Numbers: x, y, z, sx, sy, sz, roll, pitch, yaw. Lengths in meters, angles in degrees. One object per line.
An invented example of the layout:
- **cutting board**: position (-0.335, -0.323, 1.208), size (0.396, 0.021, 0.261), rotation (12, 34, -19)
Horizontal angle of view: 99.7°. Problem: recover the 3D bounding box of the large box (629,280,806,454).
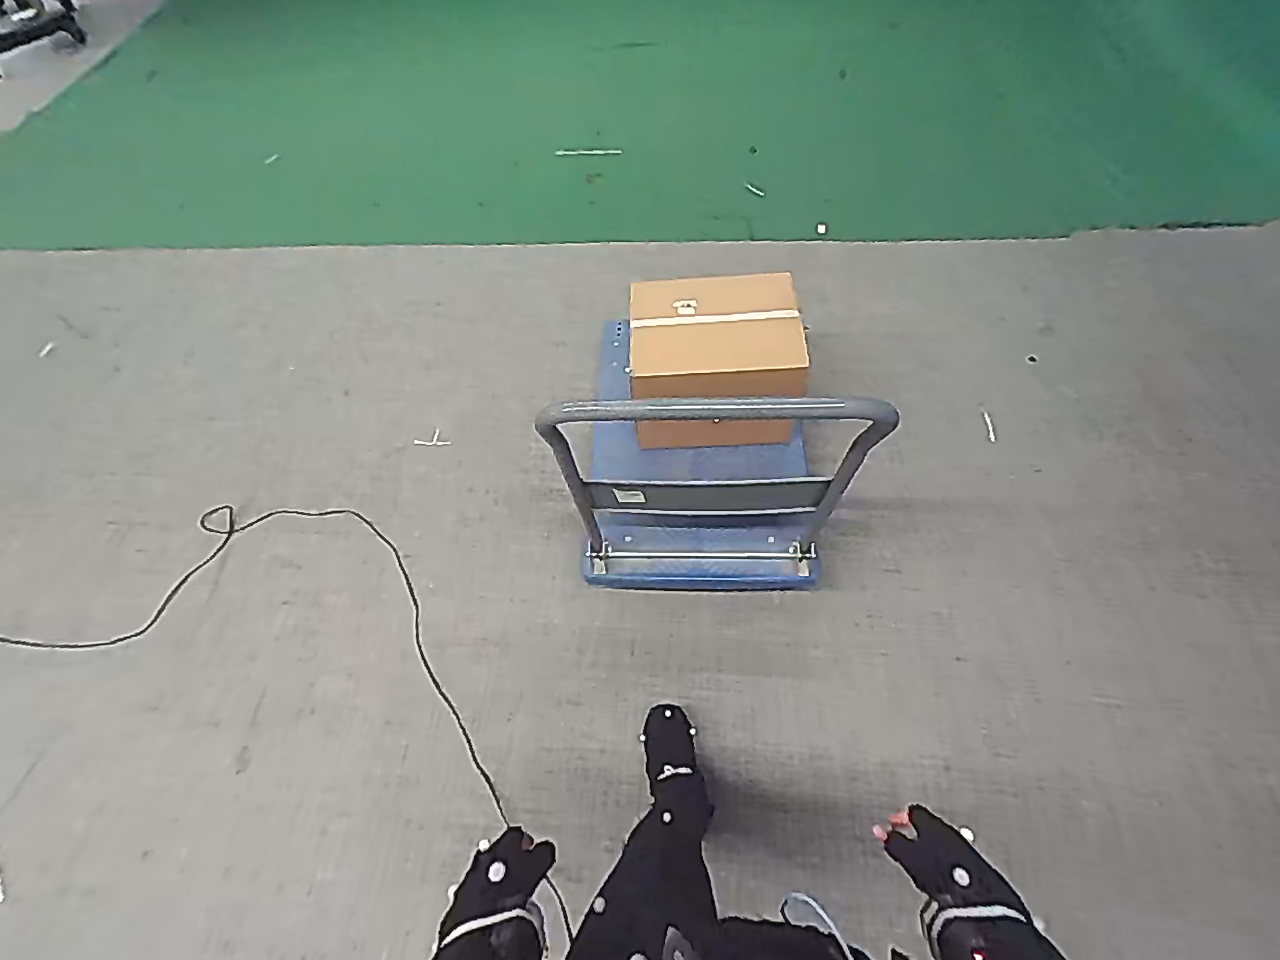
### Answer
- **large box**: position (0.188, -0.284, 1.427), size (0.408, 0.320, 0.320), rotation (-3, 59, 4)
